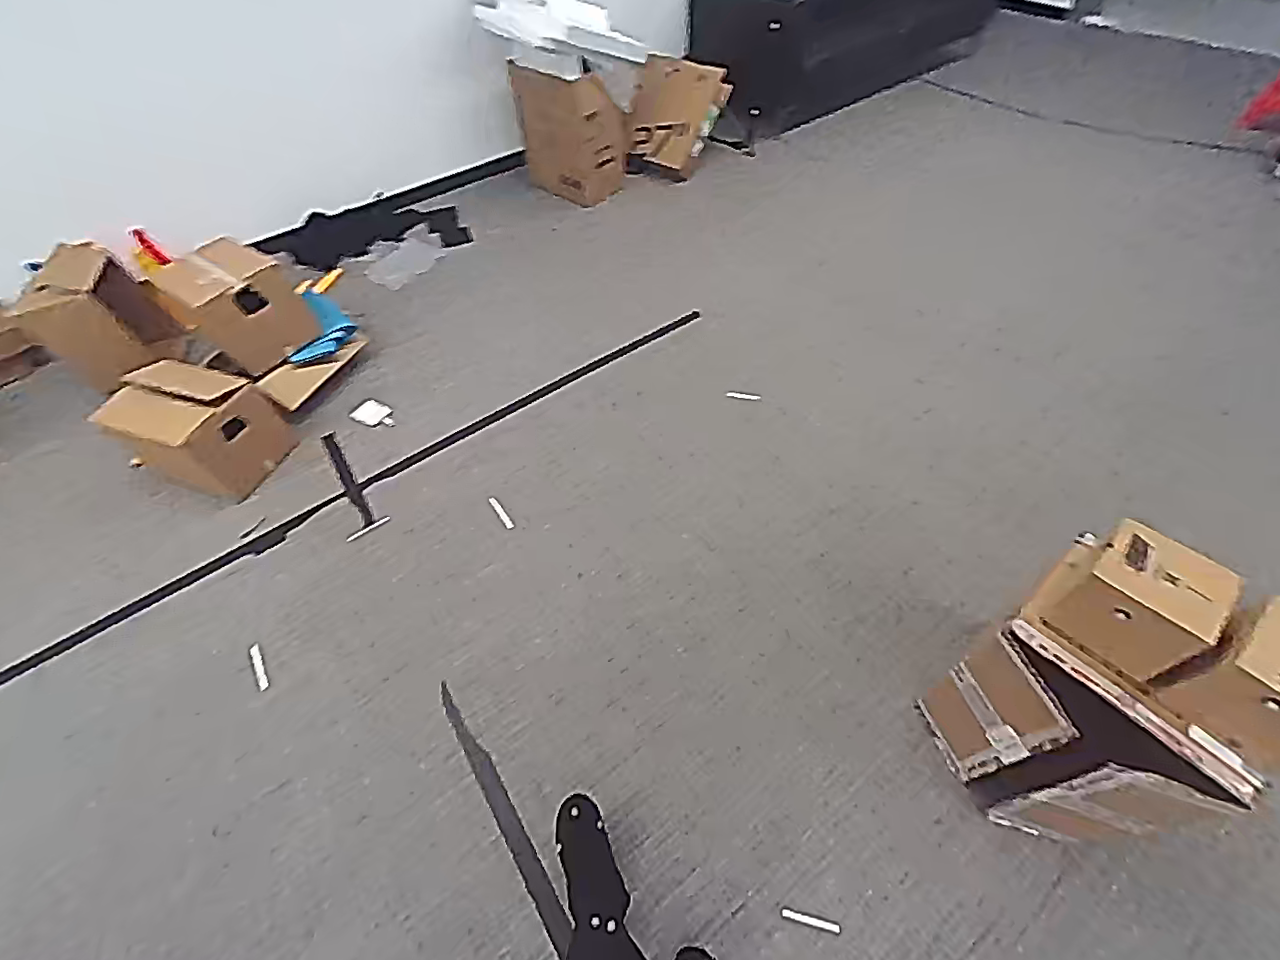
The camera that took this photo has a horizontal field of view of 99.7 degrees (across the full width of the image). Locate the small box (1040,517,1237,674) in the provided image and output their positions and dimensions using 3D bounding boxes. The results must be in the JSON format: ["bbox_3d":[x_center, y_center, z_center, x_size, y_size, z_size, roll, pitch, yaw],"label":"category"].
[{"bbox_3d":[0.859,0.205,0.950,0.168,0.176,0.179,-37,58,-24],"label":"small box"}]

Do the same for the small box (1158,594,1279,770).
[{"bbox_3d":[0.989,0.320,0.854,0.179,0.176,0.168,-34,59,-22],"label":"small box"}]
